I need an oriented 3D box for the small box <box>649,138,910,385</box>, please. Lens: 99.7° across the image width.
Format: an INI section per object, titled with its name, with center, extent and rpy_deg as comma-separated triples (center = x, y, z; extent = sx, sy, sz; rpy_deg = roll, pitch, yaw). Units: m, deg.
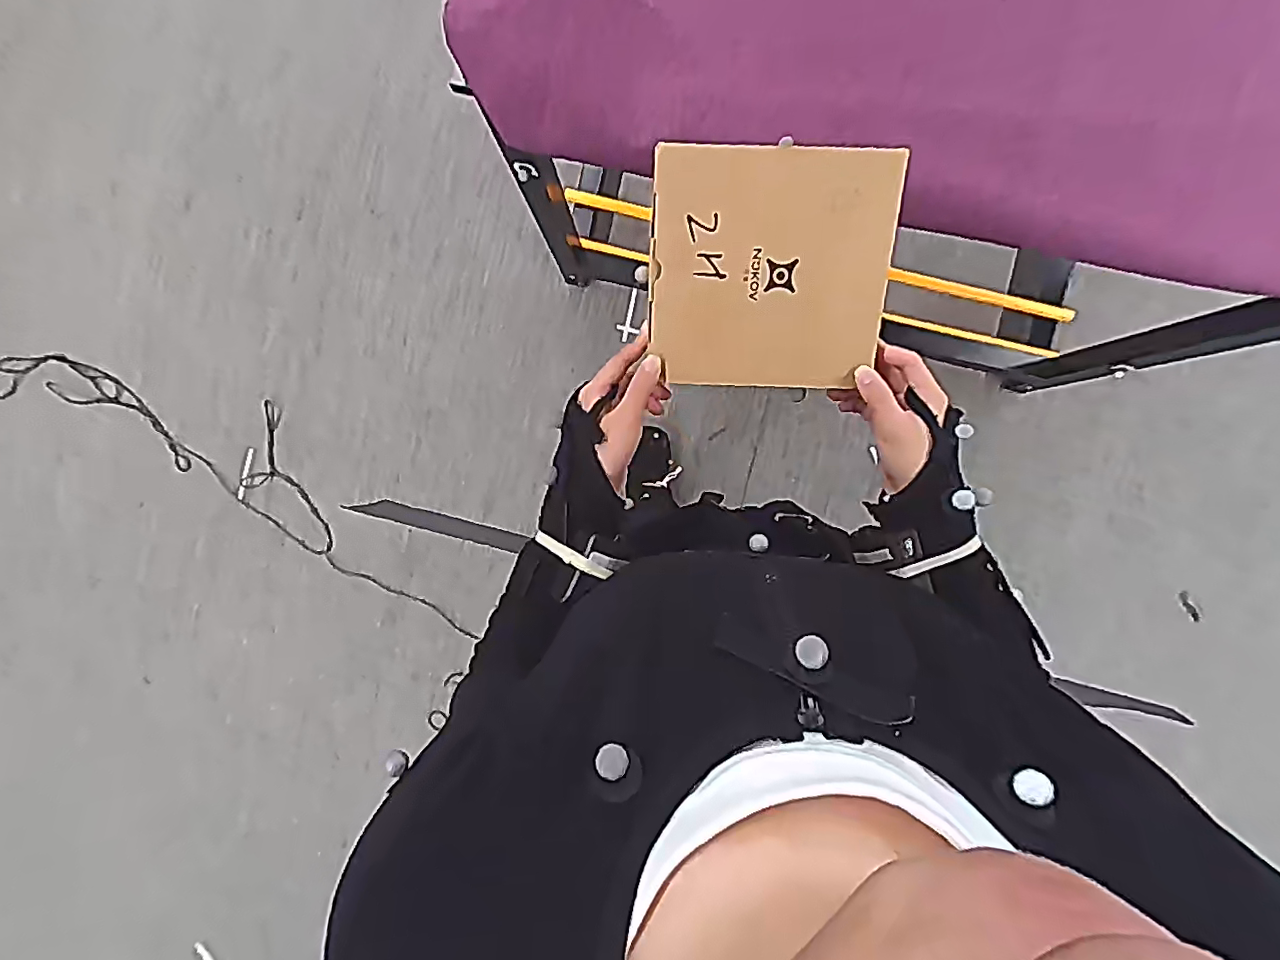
[small box]
center = 0.100, -0.180, 0.474
extent = 0.179, 0.176, 0.168
rpy_deg = 3, 108, 2
